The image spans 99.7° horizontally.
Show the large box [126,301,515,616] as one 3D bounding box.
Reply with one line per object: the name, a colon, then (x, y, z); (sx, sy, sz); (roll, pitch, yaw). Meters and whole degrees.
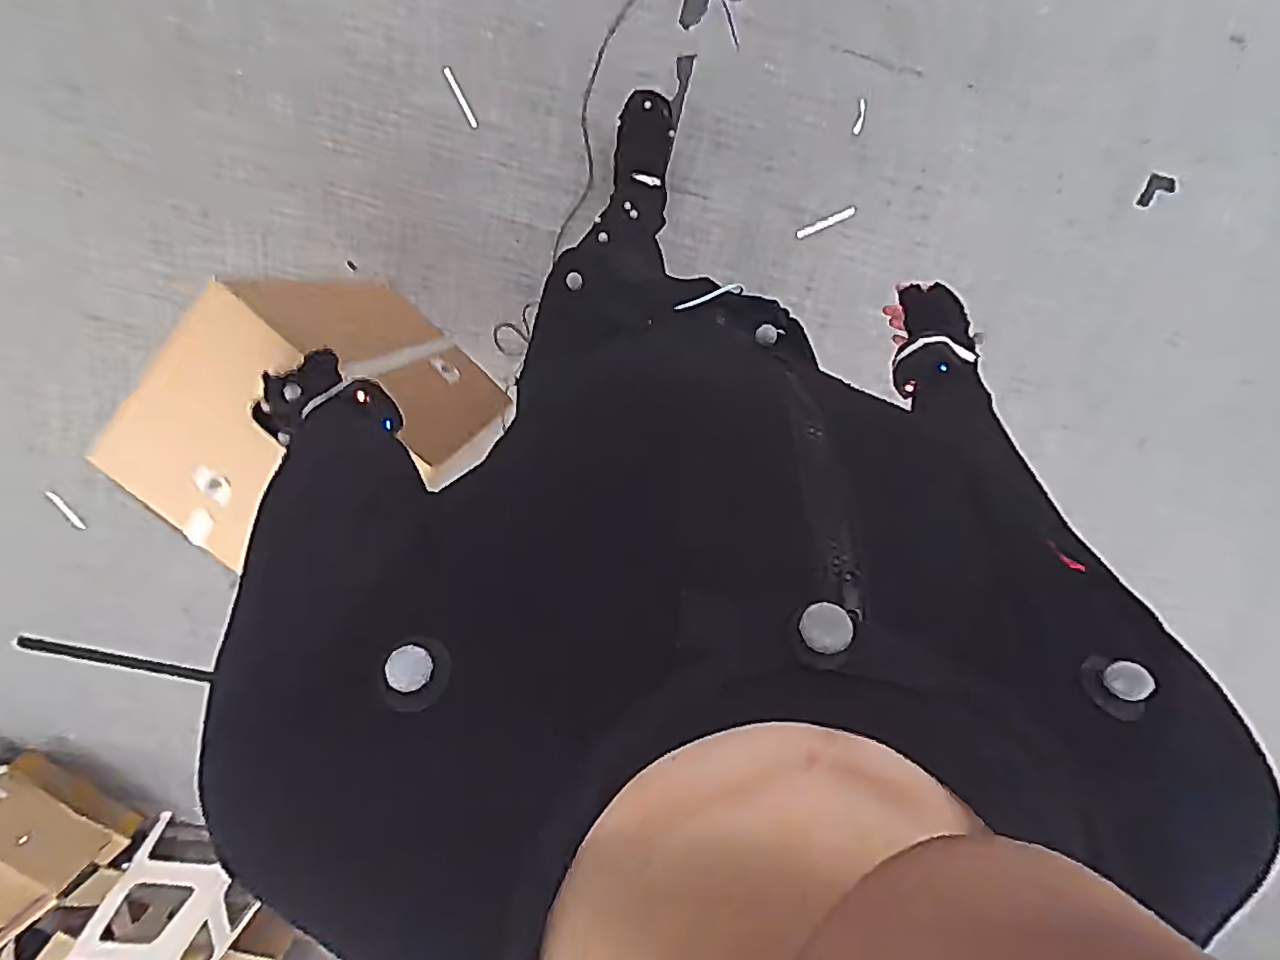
large box: (-0.459, -0.064, 0.877); (0.320, 0.408, 0.320); (43, 104, -12)
